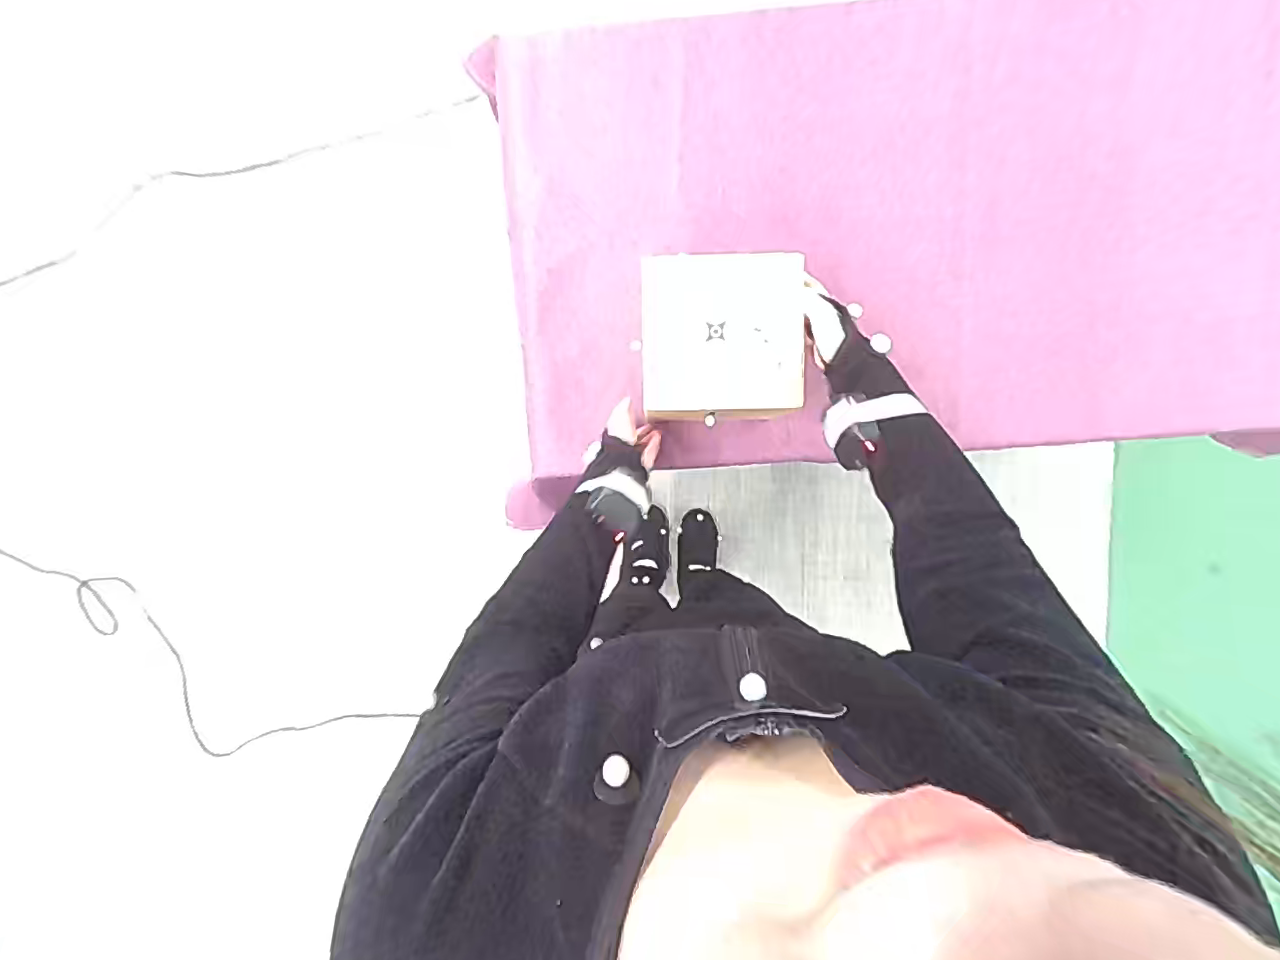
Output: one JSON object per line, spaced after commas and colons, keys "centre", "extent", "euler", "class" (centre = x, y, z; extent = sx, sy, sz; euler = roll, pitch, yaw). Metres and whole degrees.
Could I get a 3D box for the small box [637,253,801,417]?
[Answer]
{"centre": [0.089, -0.165, 0.663], "extent": [0.179, 0.176, 0.168], "euler": [0, 93, 2], "class": "small box"}
